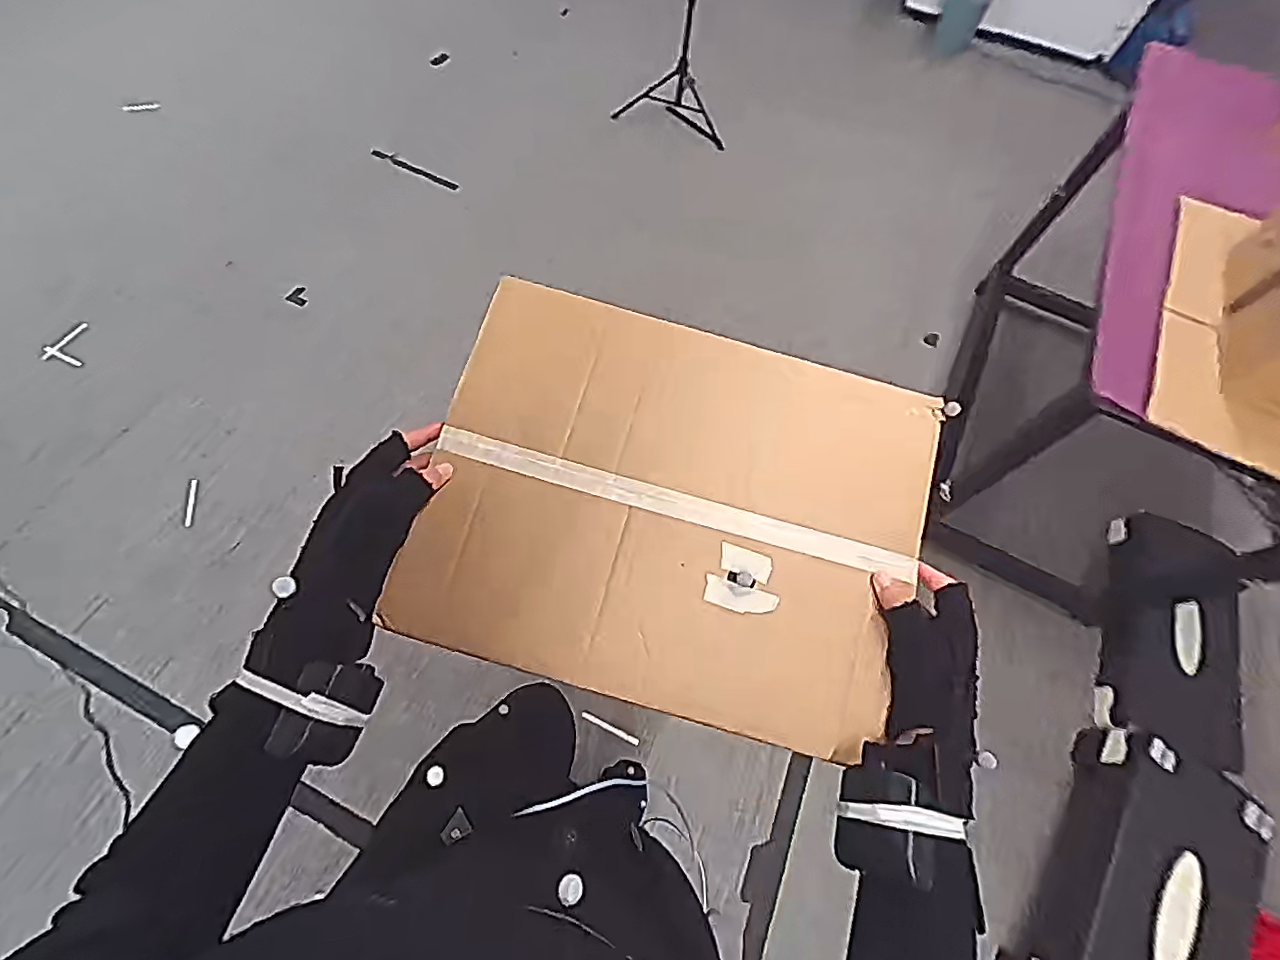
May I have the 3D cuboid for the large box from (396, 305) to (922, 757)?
[{"bbox_3d":[0.022,0.061,0.608,0.408,0.320,0.320,16,78,0],"label":"large box"}]
